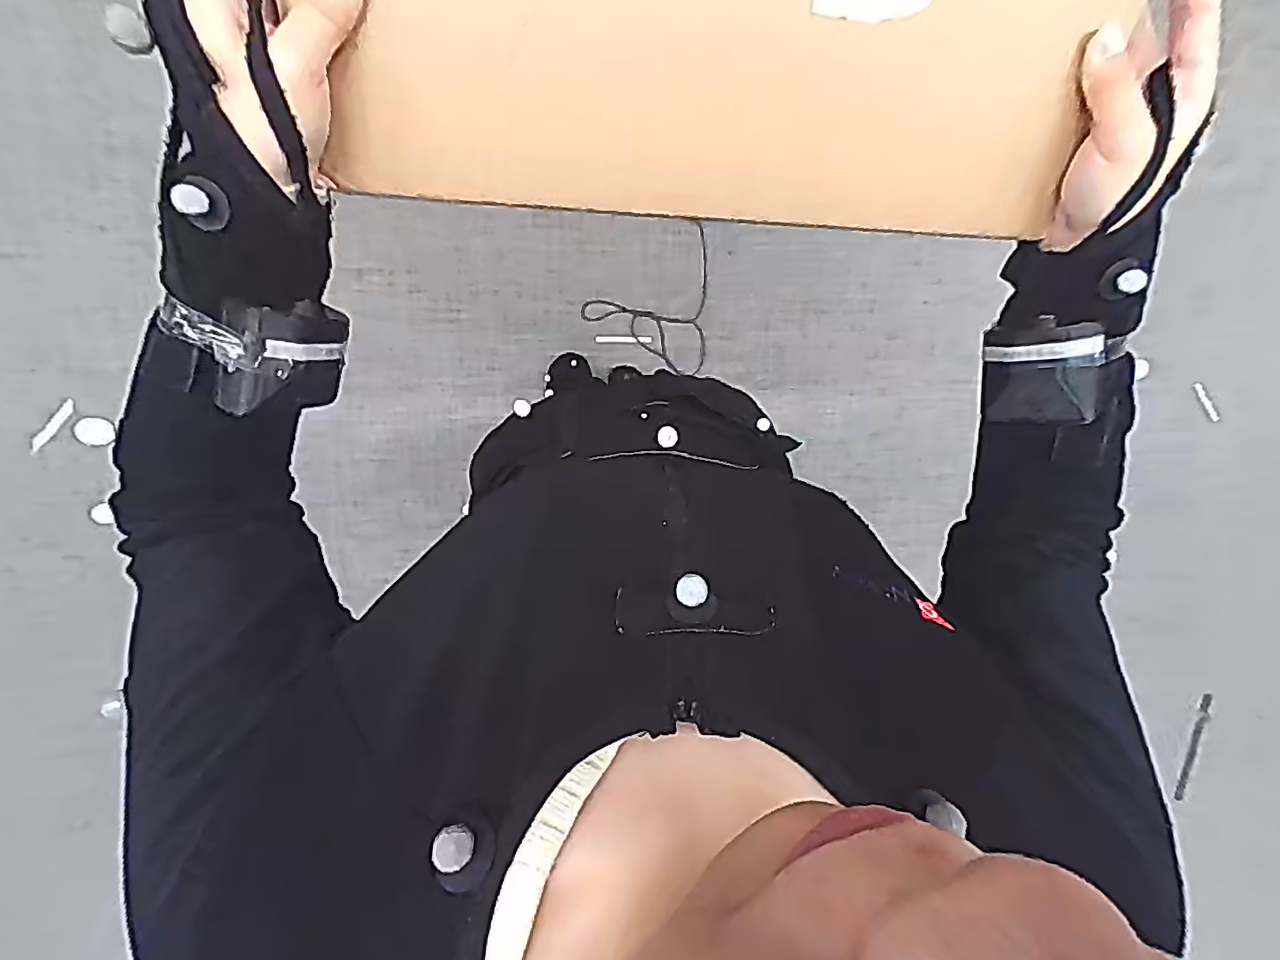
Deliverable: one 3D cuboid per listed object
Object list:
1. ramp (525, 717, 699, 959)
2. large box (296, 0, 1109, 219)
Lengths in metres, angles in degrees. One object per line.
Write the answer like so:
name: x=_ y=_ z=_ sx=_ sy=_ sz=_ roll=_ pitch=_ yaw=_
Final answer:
ramp: x=-0.076 y=1.182 z=1.545 sx=0.509 sy=0.206 sz=0.991 roll=-2 pitch=102 yaw=-3
large box: x=0.029 y=-0.363 z=0.357 sx=0.408 sy=0.320 sz=0.320 roll=1 pitch=121 yaw=-6
